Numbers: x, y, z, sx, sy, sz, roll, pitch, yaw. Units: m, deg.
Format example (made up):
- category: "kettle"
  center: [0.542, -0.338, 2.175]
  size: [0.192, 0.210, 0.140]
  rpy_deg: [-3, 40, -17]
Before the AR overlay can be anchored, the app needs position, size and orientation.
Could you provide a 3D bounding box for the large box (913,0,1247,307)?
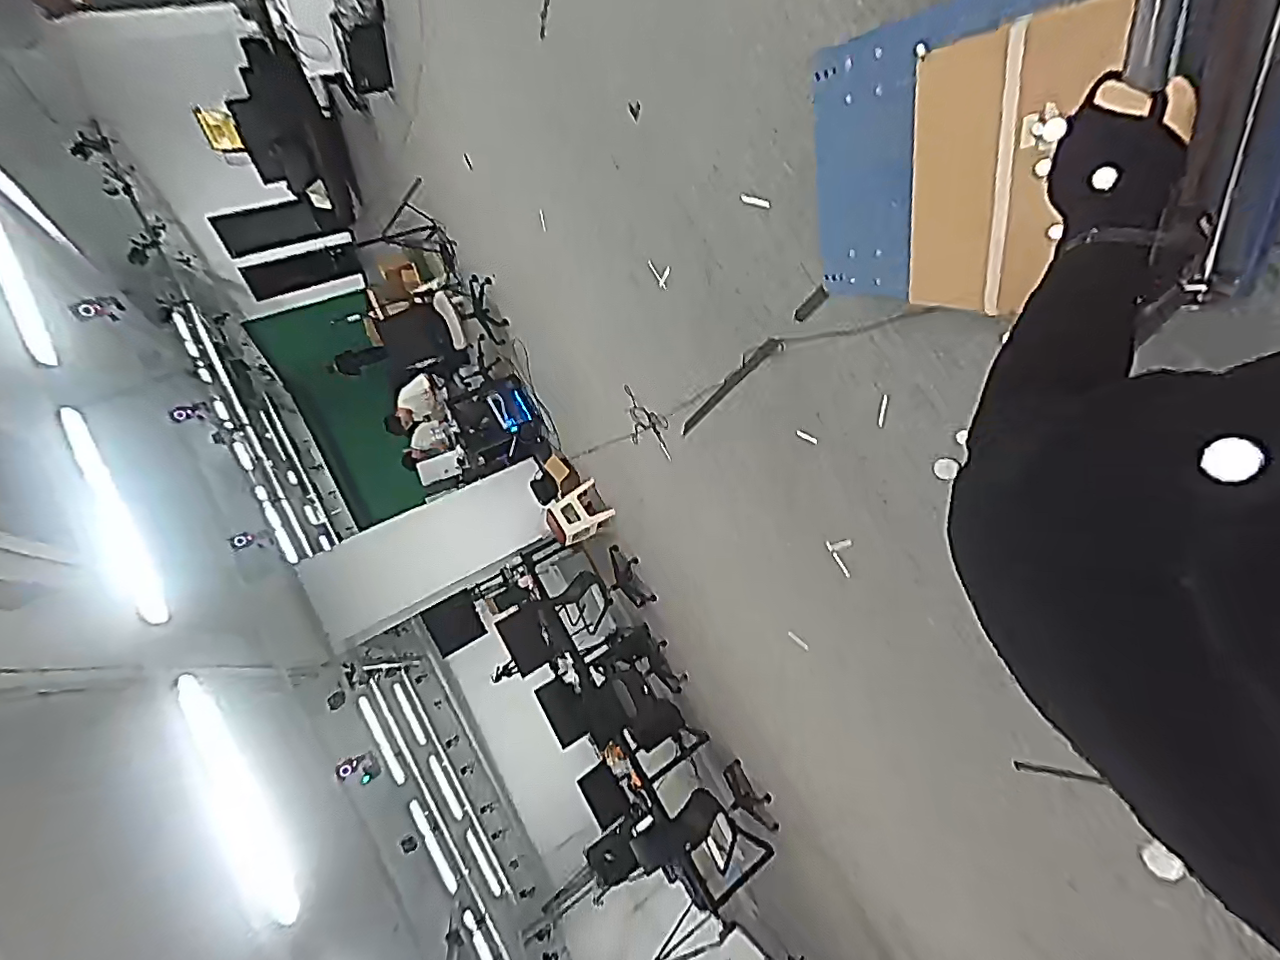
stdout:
- category: "large box"
  center: [0.702, -0.539, 0.910]
  size: [0.320, 0.320, 0.408]
  rpy_deg: [30, 140, 51]
